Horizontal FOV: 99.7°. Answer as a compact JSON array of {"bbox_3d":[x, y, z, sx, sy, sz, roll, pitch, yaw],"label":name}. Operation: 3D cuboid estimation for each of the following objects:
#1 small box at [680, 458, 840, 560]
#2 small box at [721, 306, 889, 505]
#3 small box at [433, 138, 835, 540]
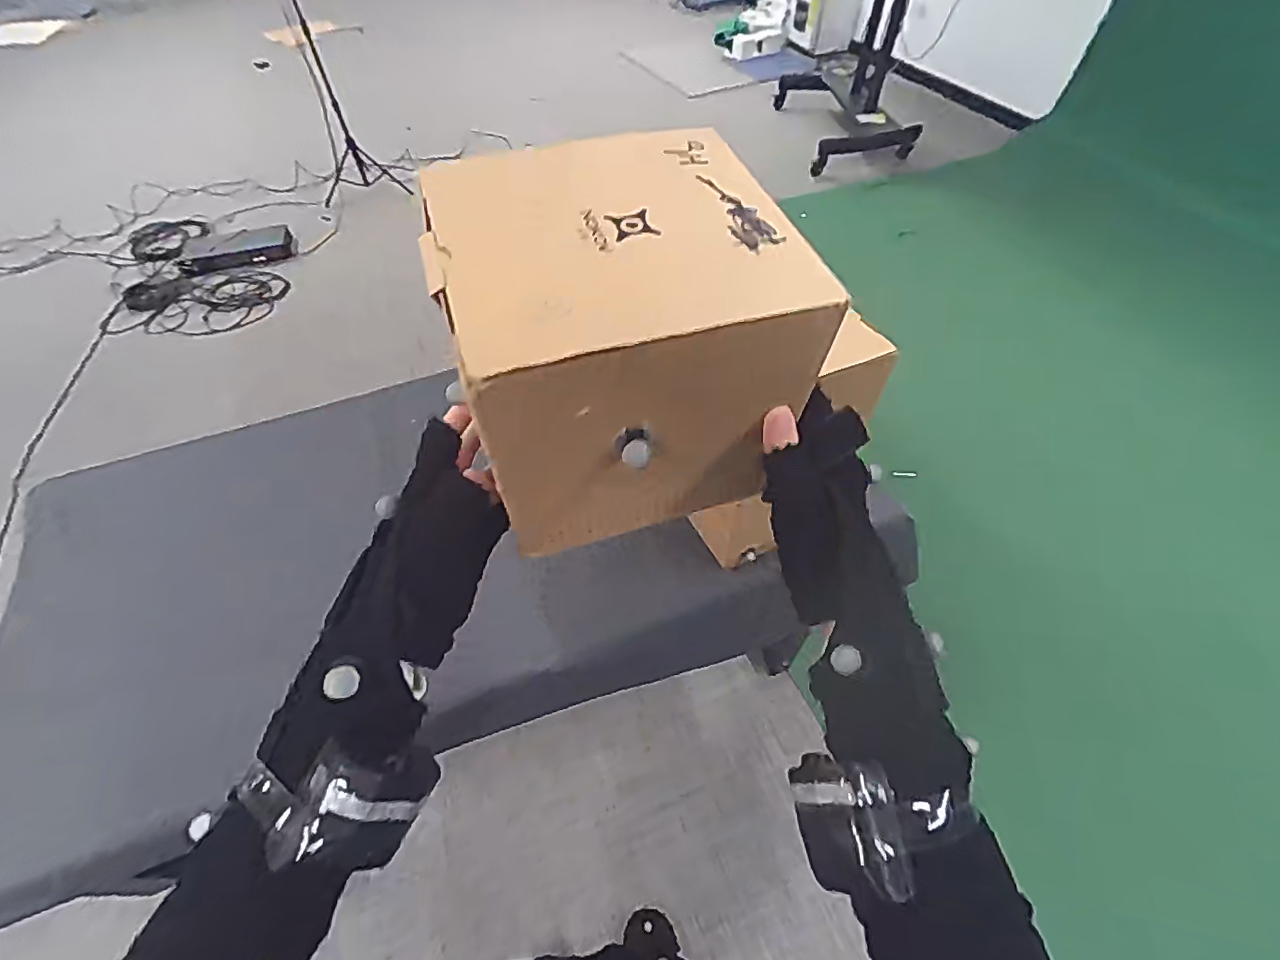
[{"bbox_3d":[0.148,-0.008,0.772,0.168,0.176,0.179,-23,54,-15],"label":"small box"},{"bbox_3d":[0.149,-0.101,0.640,0.179,0.176,0.168,-22,53,-13],"label":"small box"},{"bbox_3d":[-0.012,-0.082,0.348,0.179,0.176,0.168,-15,59,-11],"label":"small box"}]
